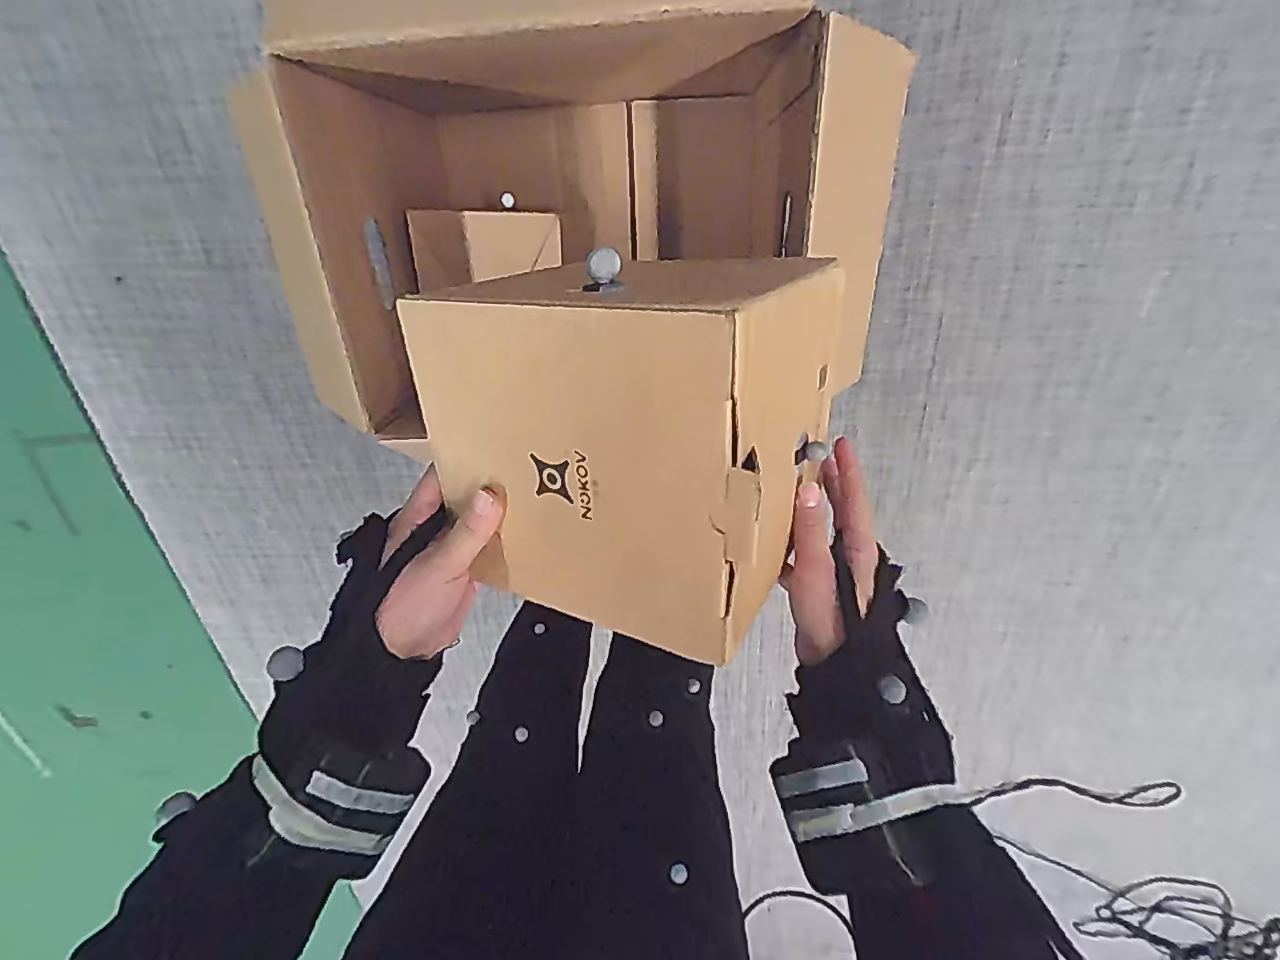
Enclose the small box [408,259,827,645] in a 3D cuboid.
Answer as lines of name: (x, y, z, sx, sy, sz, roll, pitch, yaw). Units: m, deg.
small box: (0.000, -0.038, 0.329, 0.179, 0.176, 0.168, 11, 120, 26)
